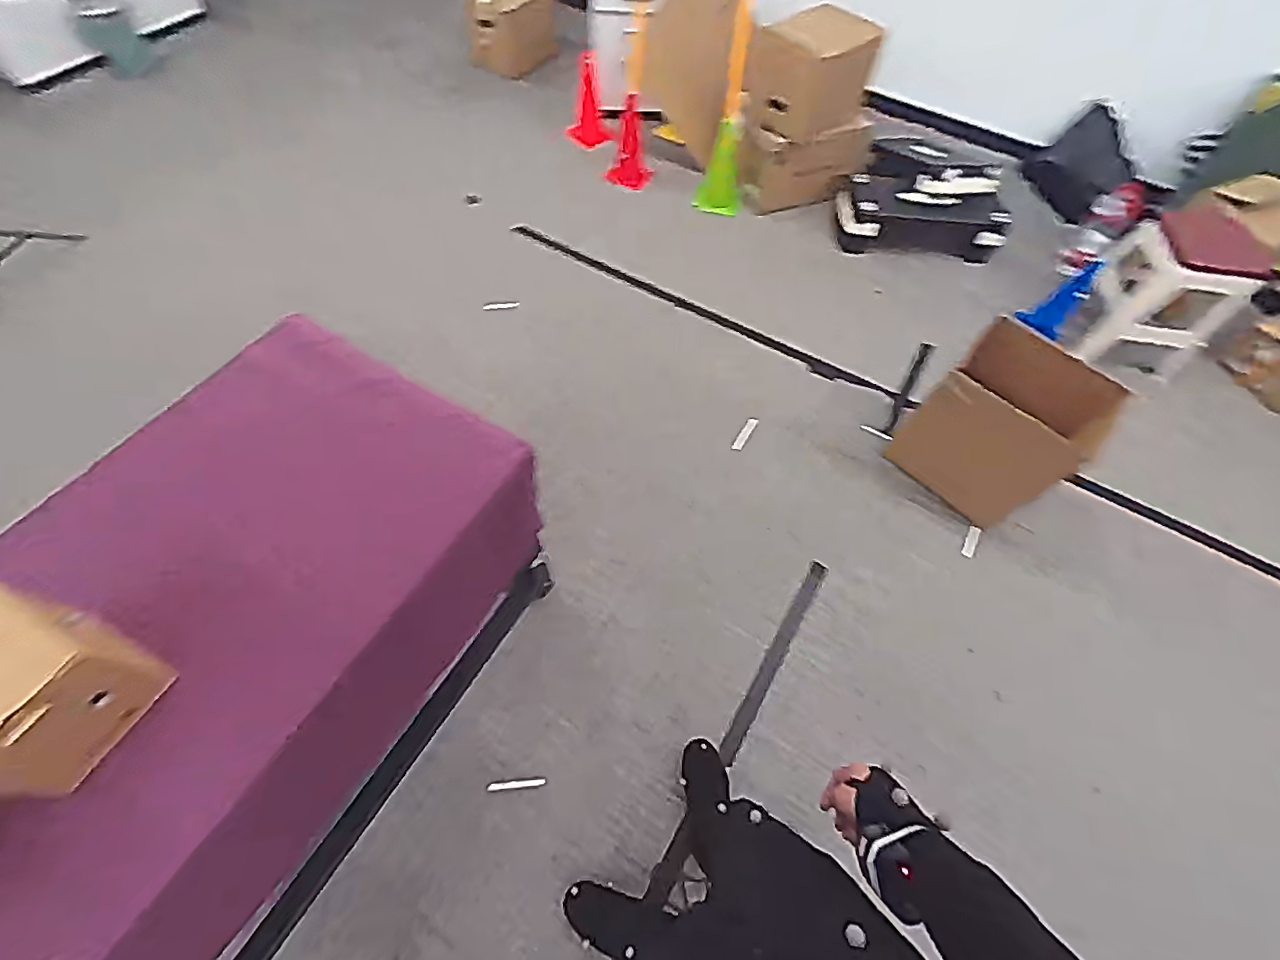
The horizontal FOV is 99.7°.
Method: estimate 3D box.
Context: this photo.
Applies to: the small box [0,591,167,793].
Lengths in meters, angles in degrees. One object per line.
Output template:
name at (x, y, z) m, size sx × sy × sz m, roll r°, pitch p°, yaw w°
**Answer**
small box at (-0.758, 0.261, 0.667) m, size 0.179 × 0.176 × 0.168 m, roll 26°, pitch 62°, yaw 12°
